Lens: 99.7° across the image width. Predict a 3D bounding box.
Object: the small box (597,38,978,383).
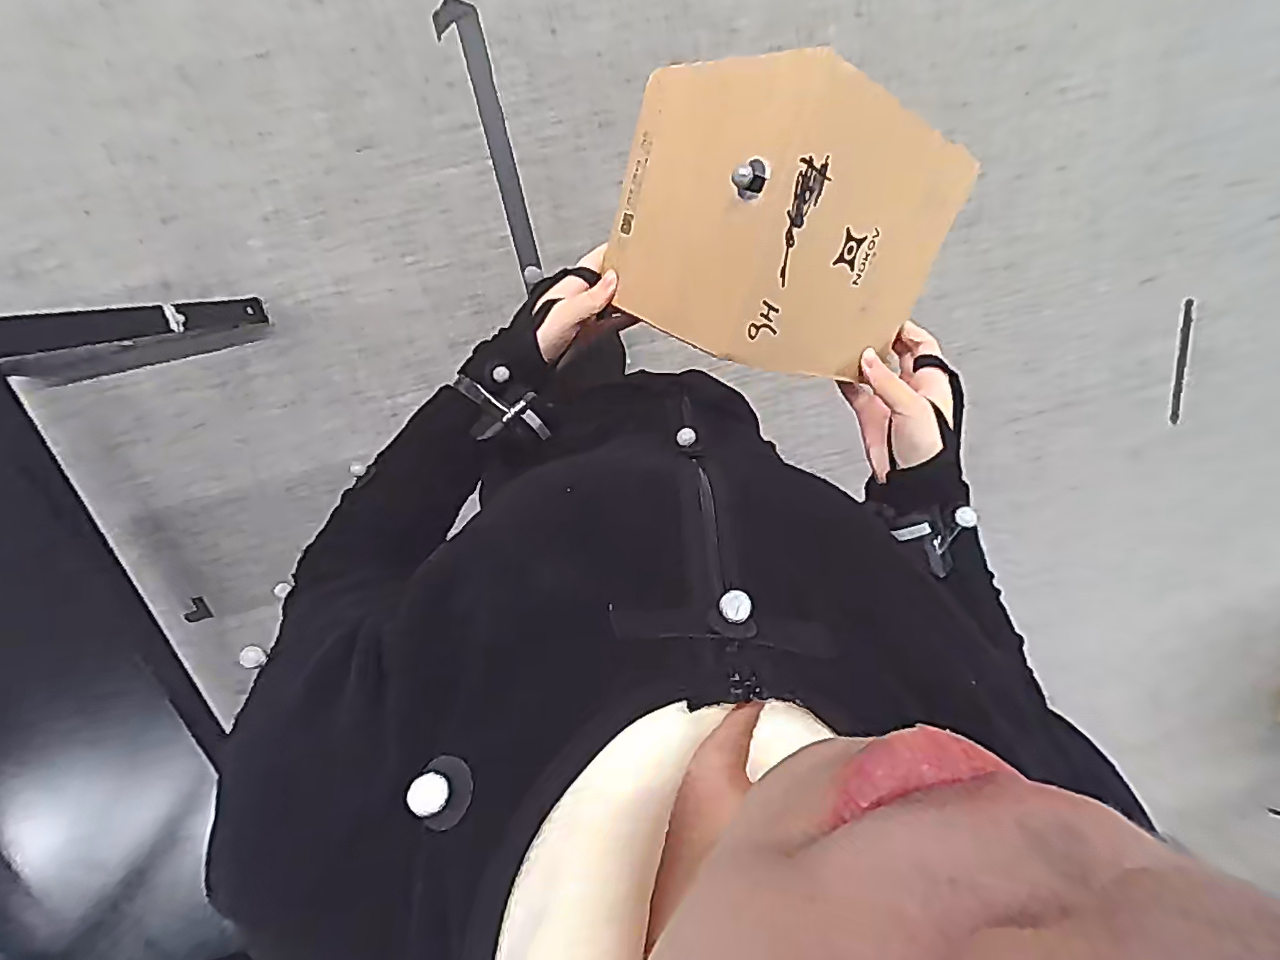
[{"bbox_3d":[0.096,-0.185,0.401,0.179,0.176,0.168,0,117,-37],"label":"small box"}]
